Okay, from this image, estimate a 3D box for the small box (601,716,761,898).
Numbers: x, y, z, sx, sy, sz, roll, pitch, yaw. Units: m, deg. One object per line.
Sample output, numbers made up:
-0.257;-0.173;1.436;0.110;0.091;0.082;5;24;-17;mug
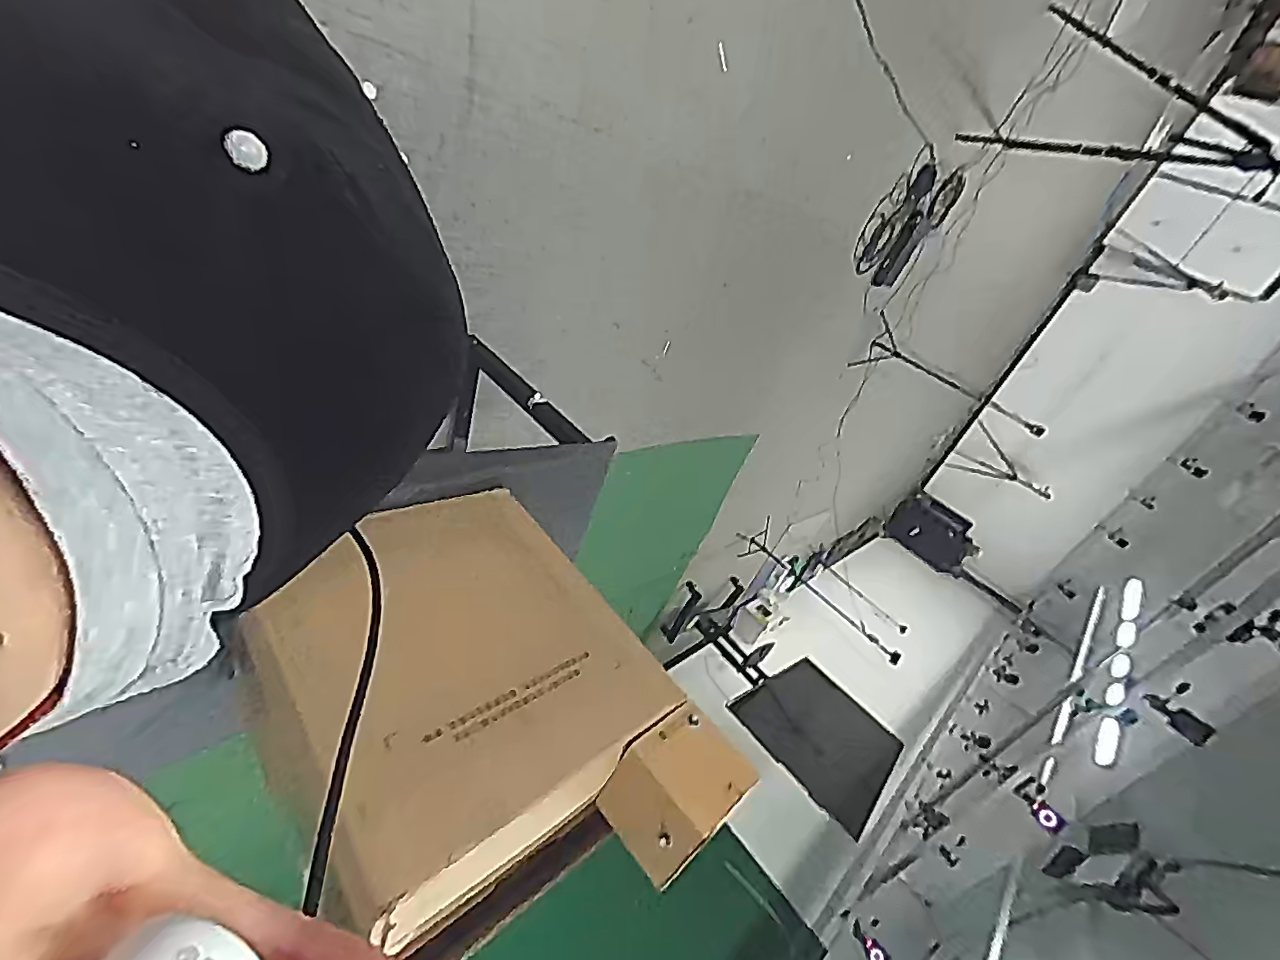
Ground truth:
0.061;0.525;0.897;0.168;0.176;0.179;-12;135;-47;small box
